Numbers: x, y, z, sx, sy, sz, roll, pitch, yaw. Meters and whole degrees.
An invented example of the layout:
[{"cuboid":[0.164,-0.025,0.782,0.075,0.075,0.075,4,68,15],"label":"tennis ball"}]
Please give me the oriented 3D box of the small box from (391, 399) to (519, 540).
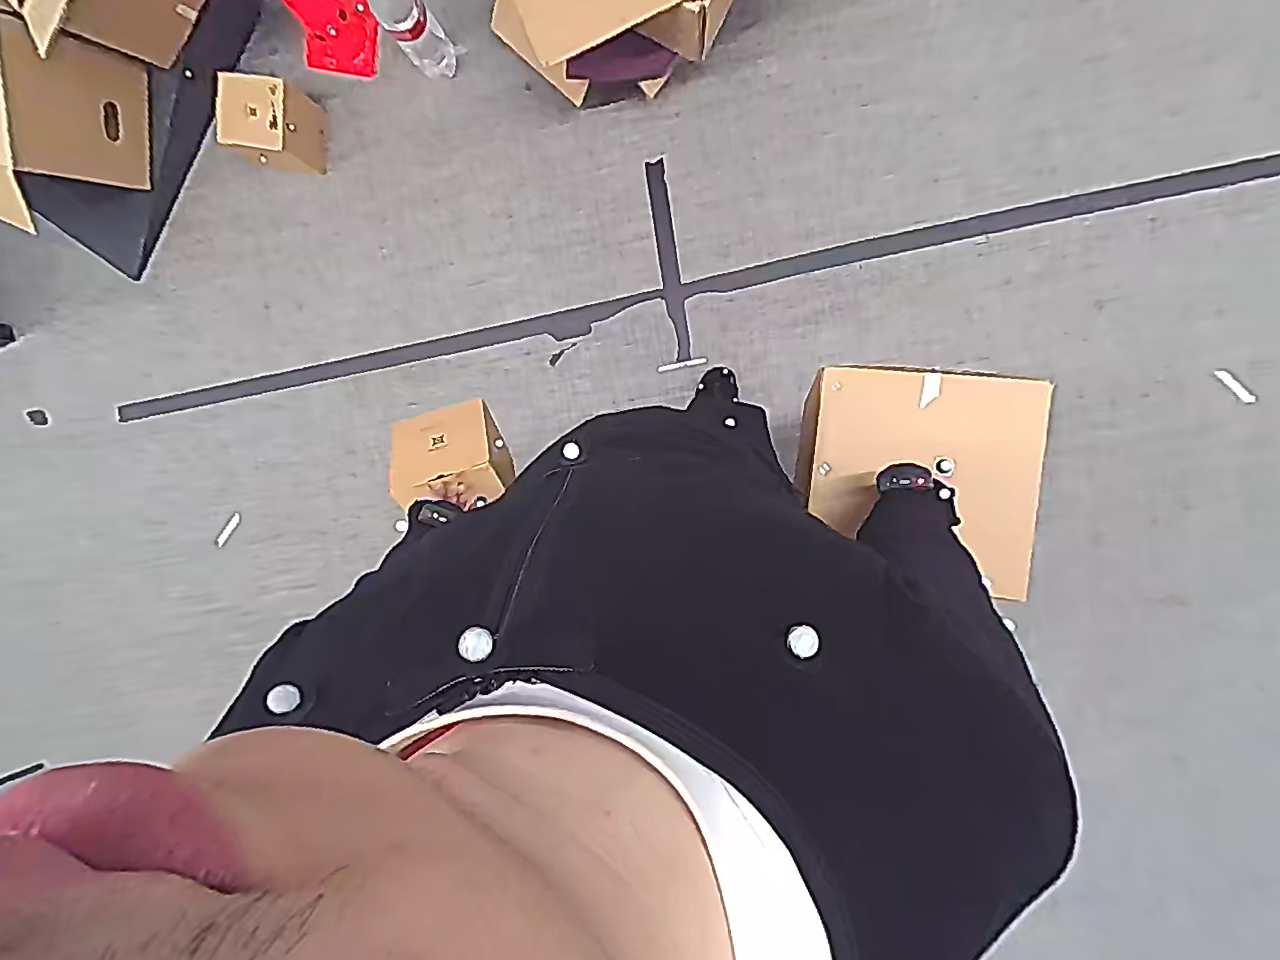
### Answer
[{"cuboid":[-0.328,-0.011,0.978,0.168,0.179,0.176,-17,139,-4],"label":"small box"}]
